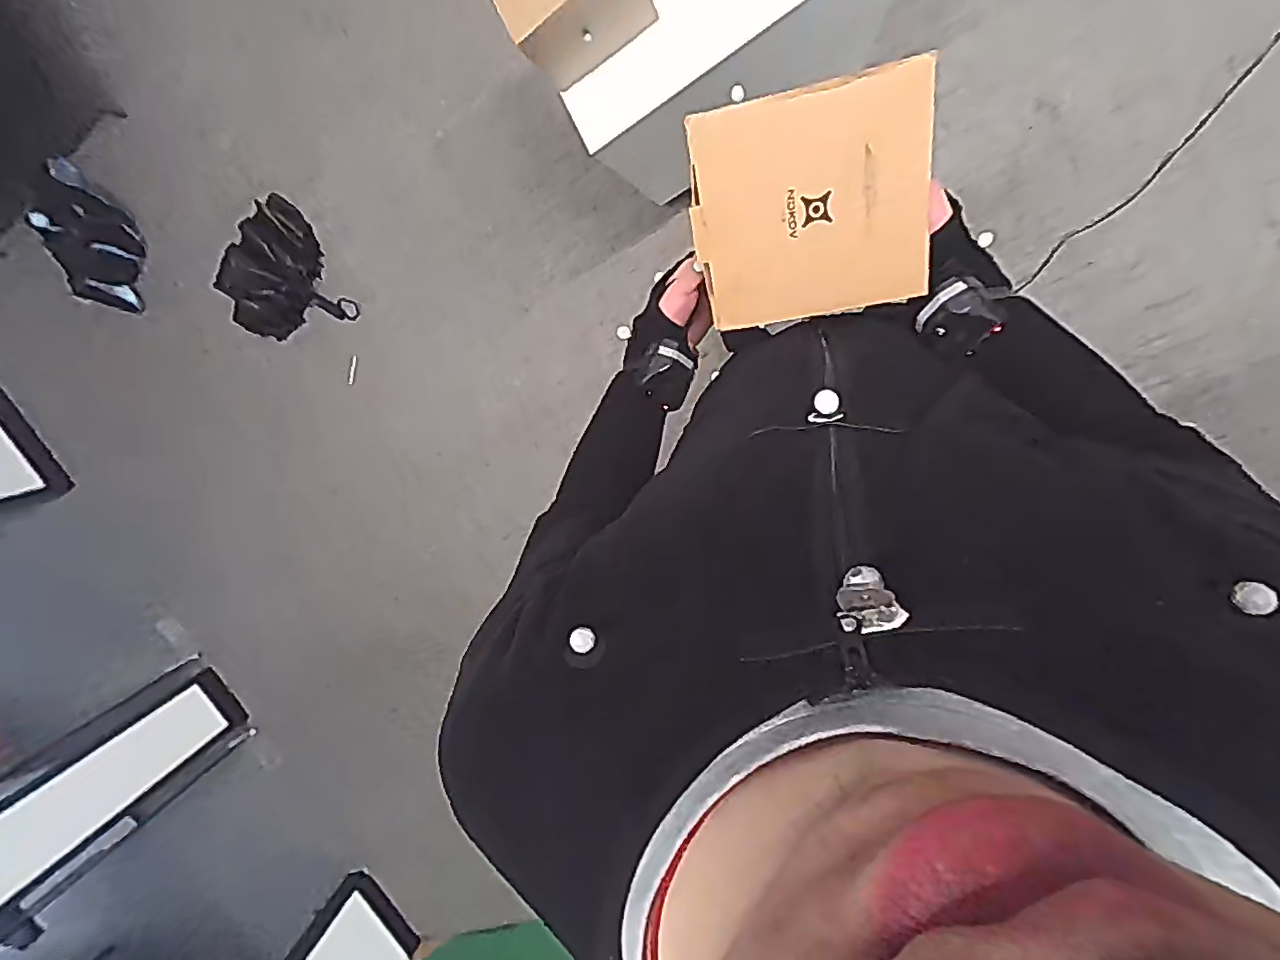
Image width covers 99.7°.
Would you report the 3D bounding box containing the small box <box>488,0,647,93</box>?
[{"bbox_3d":[-0.104,-0.668,0.716,0.179,0.176,0.168,-24,100,20],"label":"small box"}]
